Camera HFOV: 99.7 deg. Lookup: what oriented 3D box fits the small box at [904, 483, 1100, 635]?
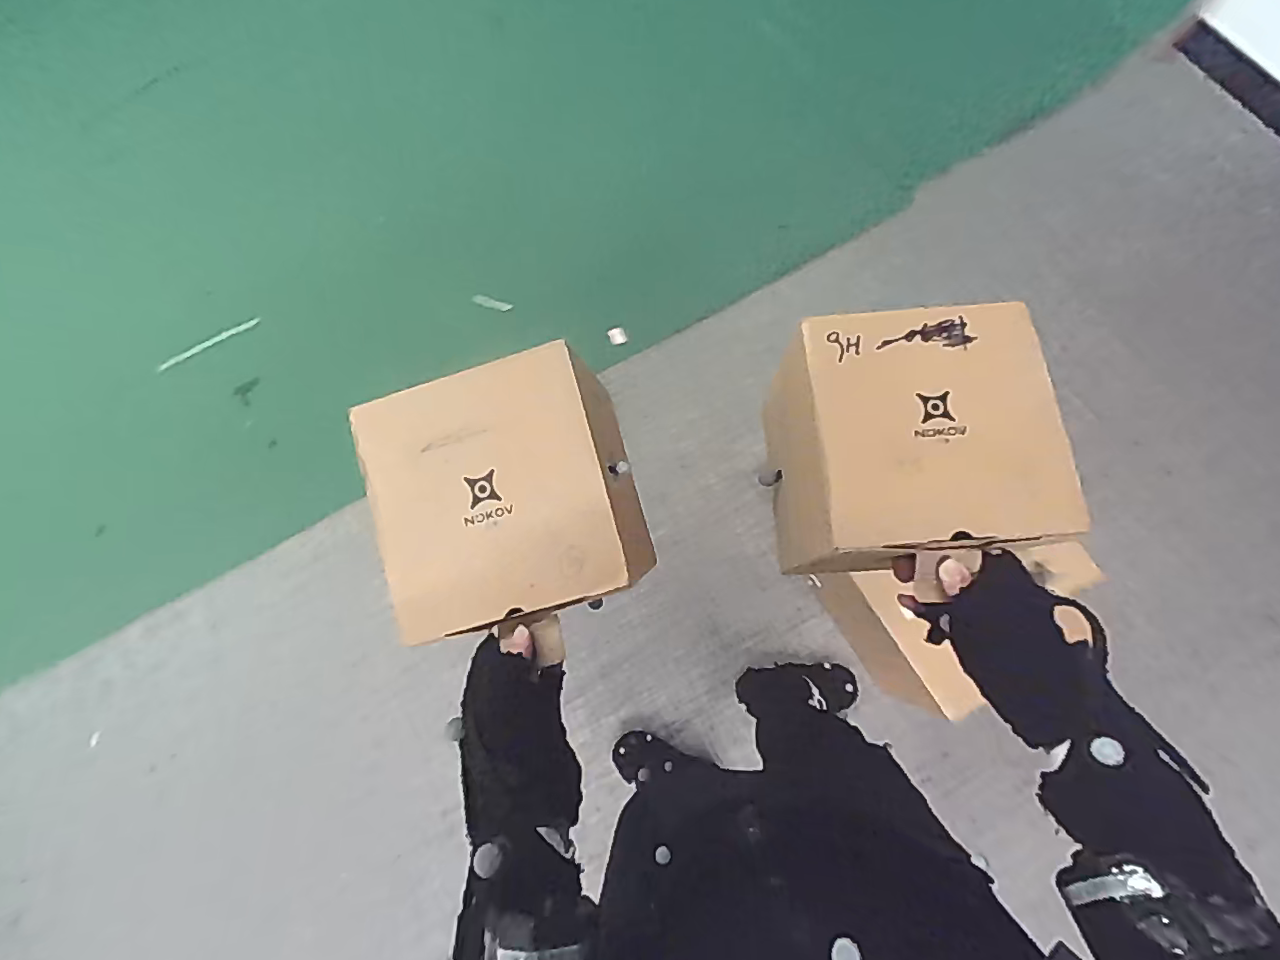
[{"bbox_3d":[0.575,0.129,0.889,0.168,0.176,0.179,-32,76,3],"label":"small box"}]
